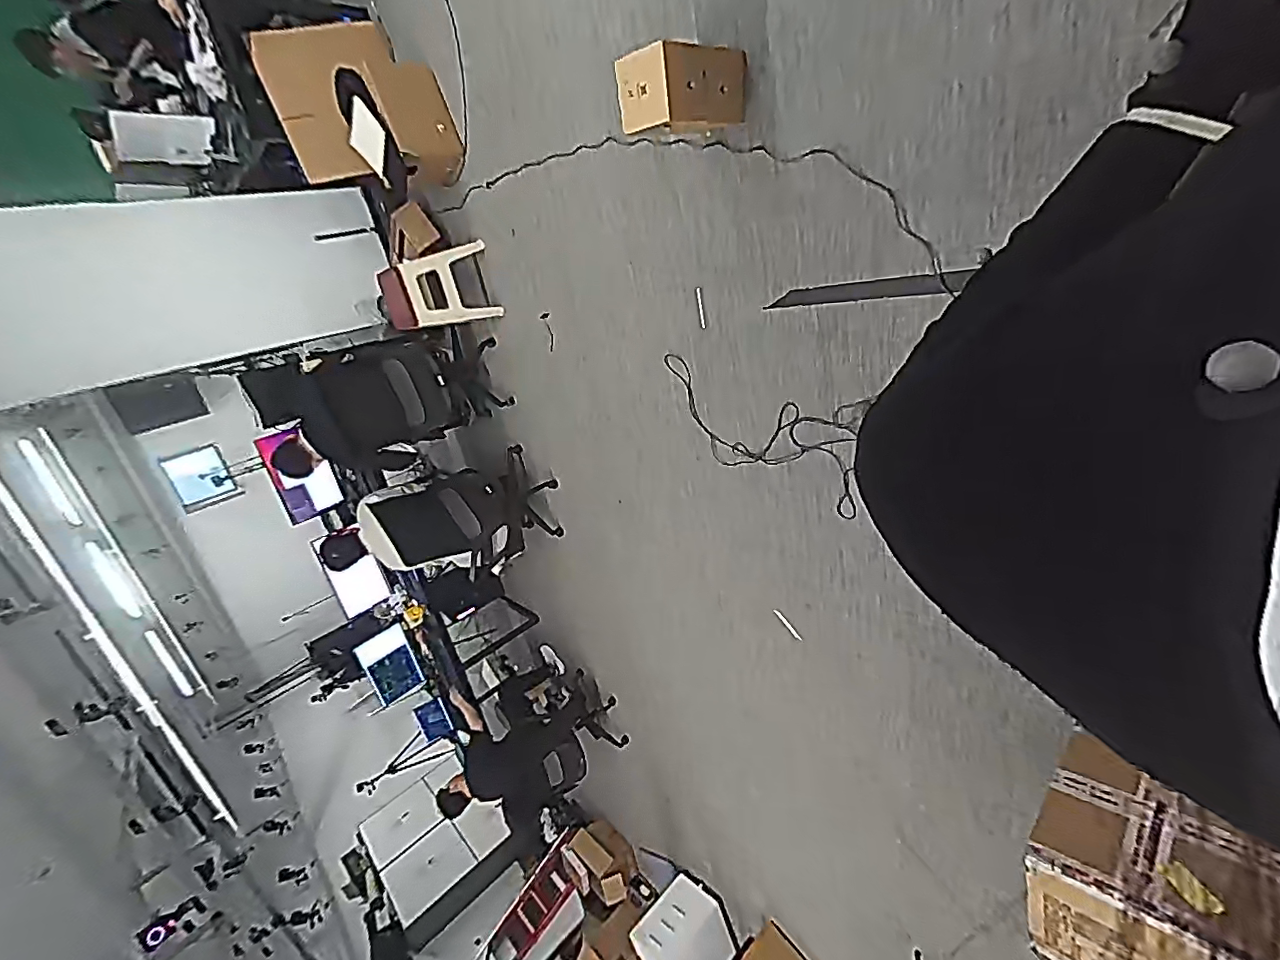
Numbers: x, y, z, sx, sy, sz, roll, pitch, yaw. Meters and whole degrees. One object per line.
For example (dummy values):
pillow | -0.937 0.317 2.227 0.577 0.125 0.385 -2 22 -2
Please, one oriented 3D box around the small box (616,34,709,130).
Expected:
small box | 0.065 -1.024 1.402 0.179 0.176 0.168 19 126 44

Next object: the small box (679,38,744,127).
small box | 0.175 -1.095 1.503 0.168 0.176 0.179 22 130 42
